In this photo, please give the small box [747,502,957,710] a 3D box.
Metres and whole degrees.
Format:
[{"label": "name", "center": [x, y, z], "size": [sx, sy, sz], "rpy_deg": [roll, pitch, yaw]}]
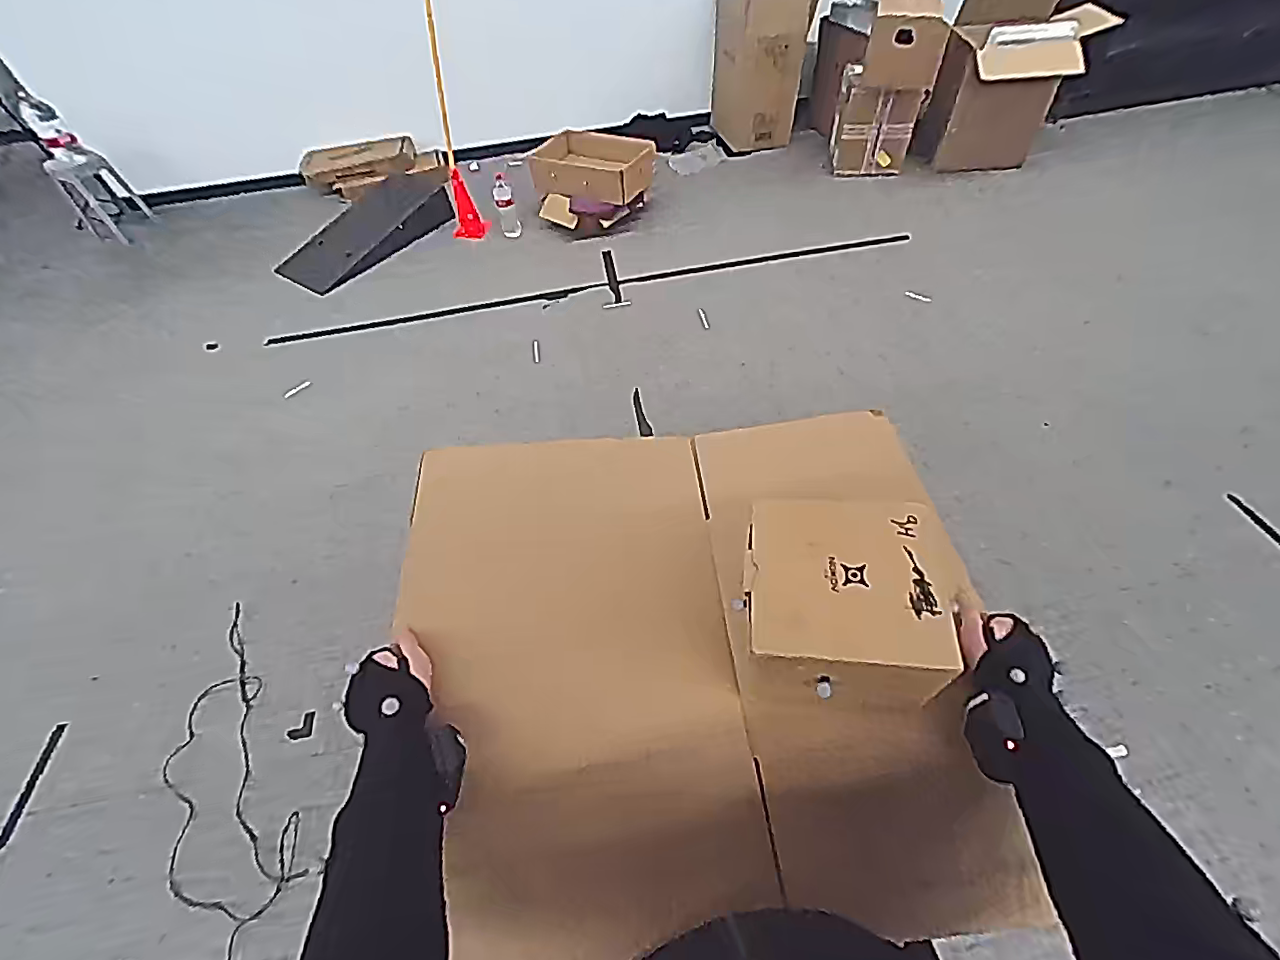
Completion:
[{"label": "small box", "center": [0.206, 0.137, 0.579], "size": [0.179, 0.176, 0.168], "rpy_deg": [1, 55, 11]}]
